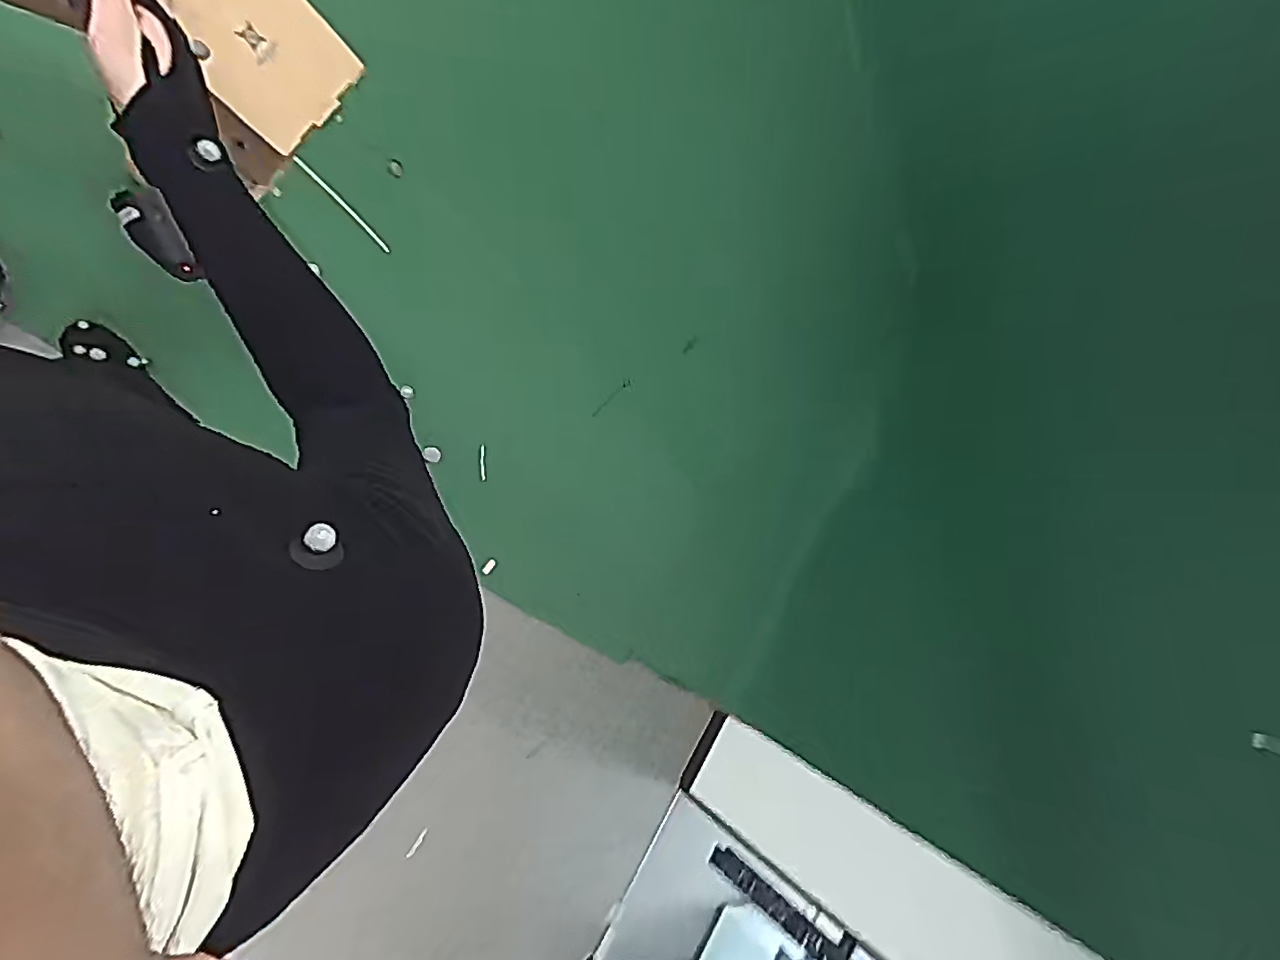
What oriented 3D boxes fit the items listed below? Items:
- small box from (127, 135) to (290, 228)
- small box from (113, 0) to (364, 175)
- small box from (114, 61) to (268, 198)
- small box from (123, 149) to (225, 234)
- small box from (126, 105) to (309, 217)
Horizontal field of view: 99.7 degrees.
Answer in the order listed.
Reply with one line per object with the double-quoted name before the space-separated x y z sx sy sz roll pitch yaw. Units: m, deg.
"small box" -0.813 -0.604 1.024 0.179 0.176 0.168 41 74 -41
"small box" -0.488 -0.510 0.667 0.179 0.176 0.168 42 72 -40
"small box" -0.600 -0.543 0.783 0.168 0.176 0.179 42 74 -41
"small box" -0.926 -0.640 1.135 0.179 0.176 0.168 46 71 -41
"small box" -0.704 -0.572 0.905 0.179 0.176 0.168 40 75 -42
